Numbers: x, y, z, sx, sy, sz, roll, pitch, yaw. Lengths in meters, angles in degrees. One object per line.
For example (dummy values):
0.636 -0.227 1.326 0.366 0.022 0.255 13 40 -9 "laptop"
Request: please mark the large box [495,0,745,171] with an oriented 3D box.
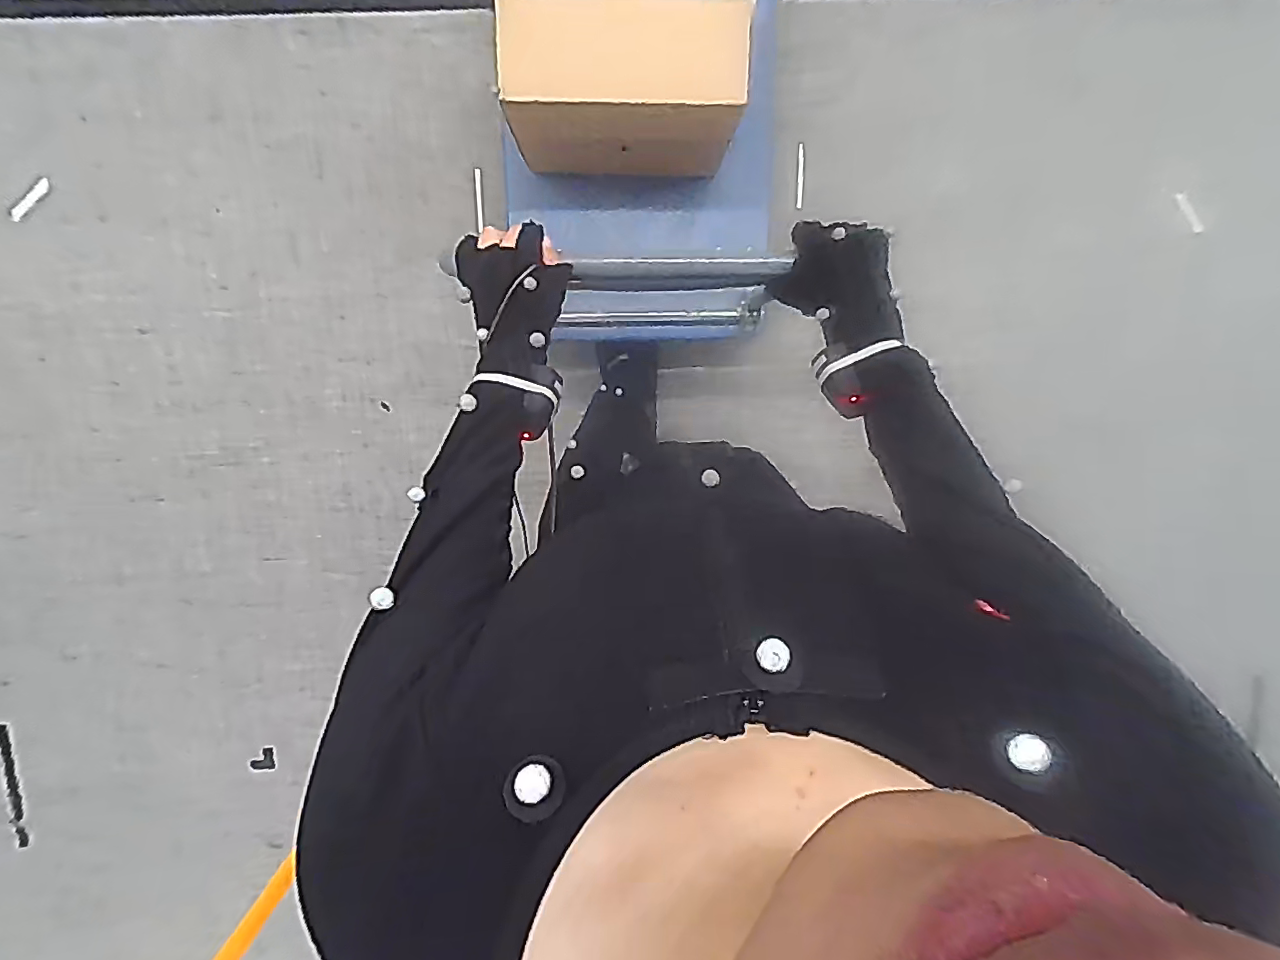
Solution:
-0.033 -0.790 1.000 0.408 0.320 0.320 0 100 -1 "large box"
